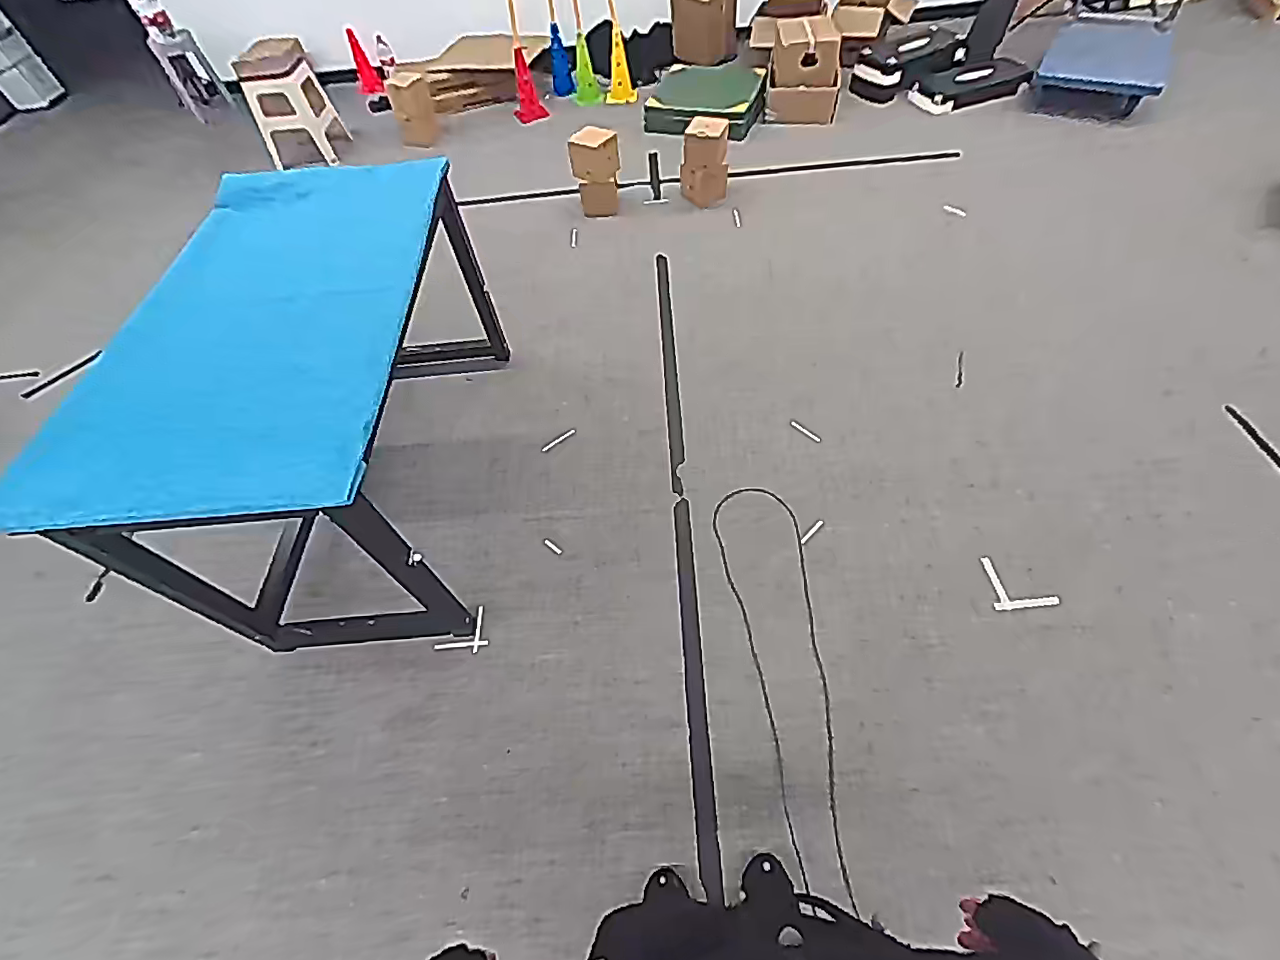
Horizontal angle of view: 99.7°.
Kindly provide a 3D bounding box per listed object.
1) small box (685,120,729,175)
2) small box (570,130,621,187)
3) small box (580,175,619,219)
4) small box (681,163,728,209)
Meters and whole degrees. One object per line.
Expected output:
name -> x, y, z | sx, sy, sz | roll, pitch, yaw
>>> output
small box -> 0.317, -1.582, 2.576 | 0.168, 0.176, 0.179 | 16, 58, 13
small box -> -0.213, -1.546, 2.592 | 0.179, 0.176, 0.168 | 27, 61, 23
small box -> -0.200, -1.440, 2.722 | 0.179, 0.176, 0.168 | -3, 54, 4
small box -> 0.322, -1.497, 2.716 | 0.179, 0.176, 0.168 | -30, 60, -15
